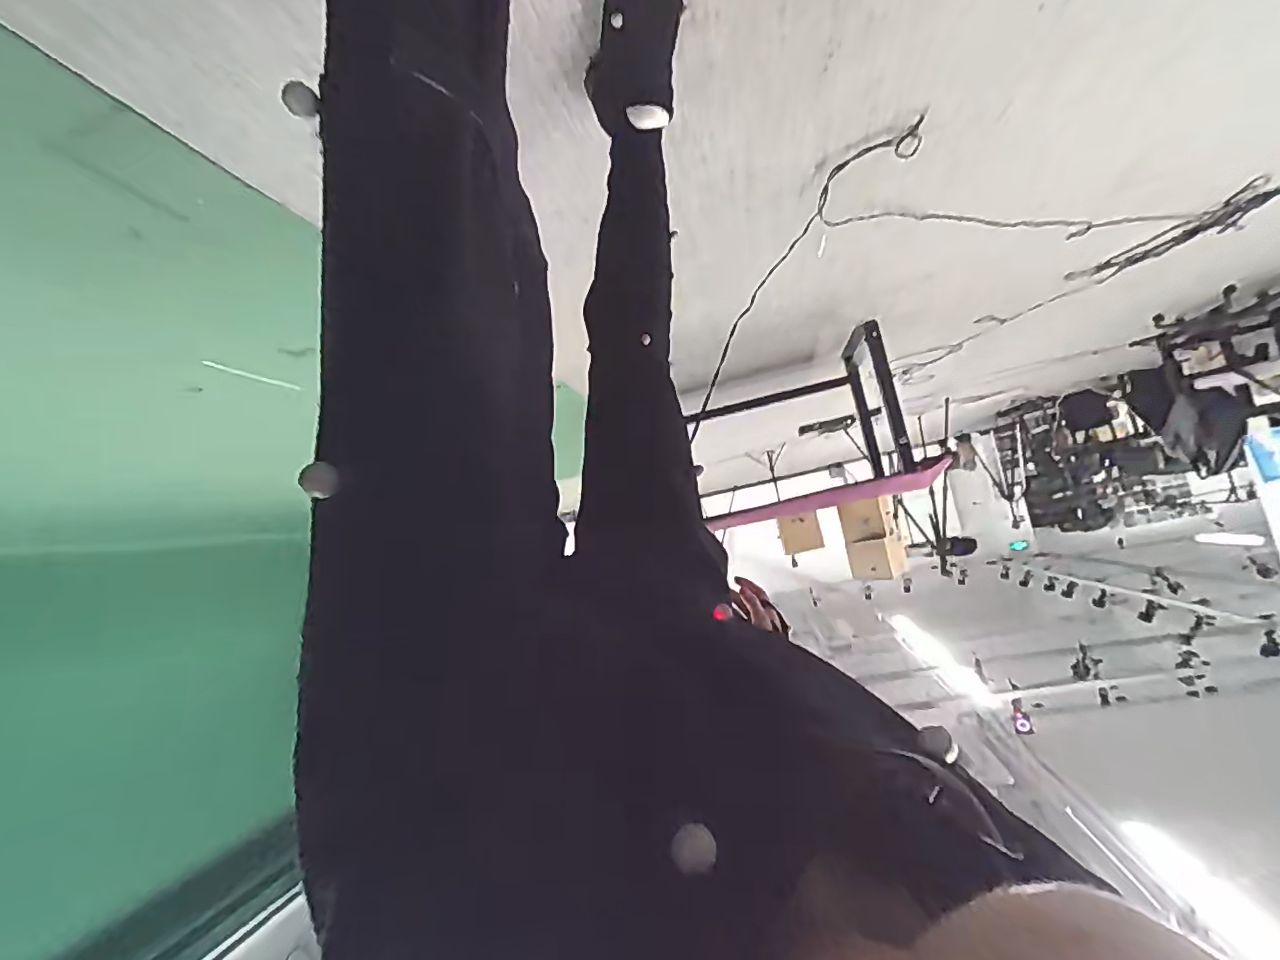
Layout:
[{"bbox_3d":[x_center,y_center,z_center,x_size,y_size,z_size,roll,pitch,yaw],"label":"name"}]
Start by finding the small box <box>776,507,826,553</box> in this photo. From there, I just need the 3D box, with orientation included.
[{"bbox_3d":[0.695,0.214,2.349,0.168,0.176,0.179,-14,174,10],"label":"small box"}]

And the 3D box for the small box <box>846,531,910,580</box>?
[{"bbox_3d":[0.996,0.312,2.266,0.168,0.176,0.179,-7,173,-42],"label":"small box"}]

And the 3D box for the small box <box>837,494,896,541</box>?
[{"bbox_3d":[0.964,0.153,2.298,0.179,0.176,0.168,-16,173,36],"label":"small box"}]
